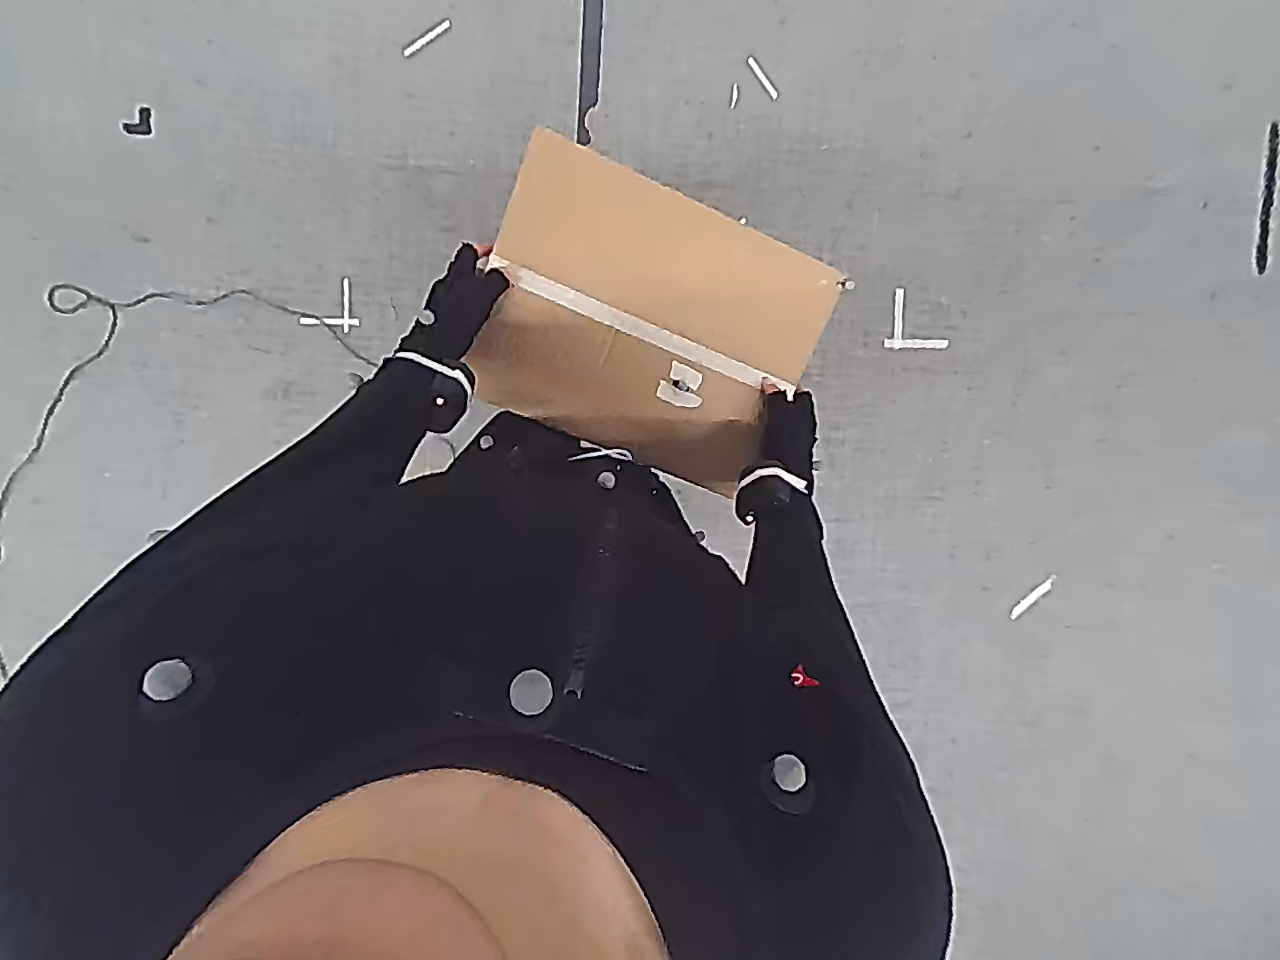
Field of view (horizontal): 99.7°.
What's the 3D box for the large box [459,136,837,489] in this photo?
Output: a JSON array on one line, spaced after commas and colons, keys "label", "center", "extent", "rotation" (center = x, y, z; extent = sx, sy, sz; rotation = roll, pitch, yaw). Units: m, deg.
[{"label": "large box", "center": [-0.003, -0.229, 0.819], "extent": [0.408, 0.320, 0.320], "rotation": [21, 104, -9]}]
